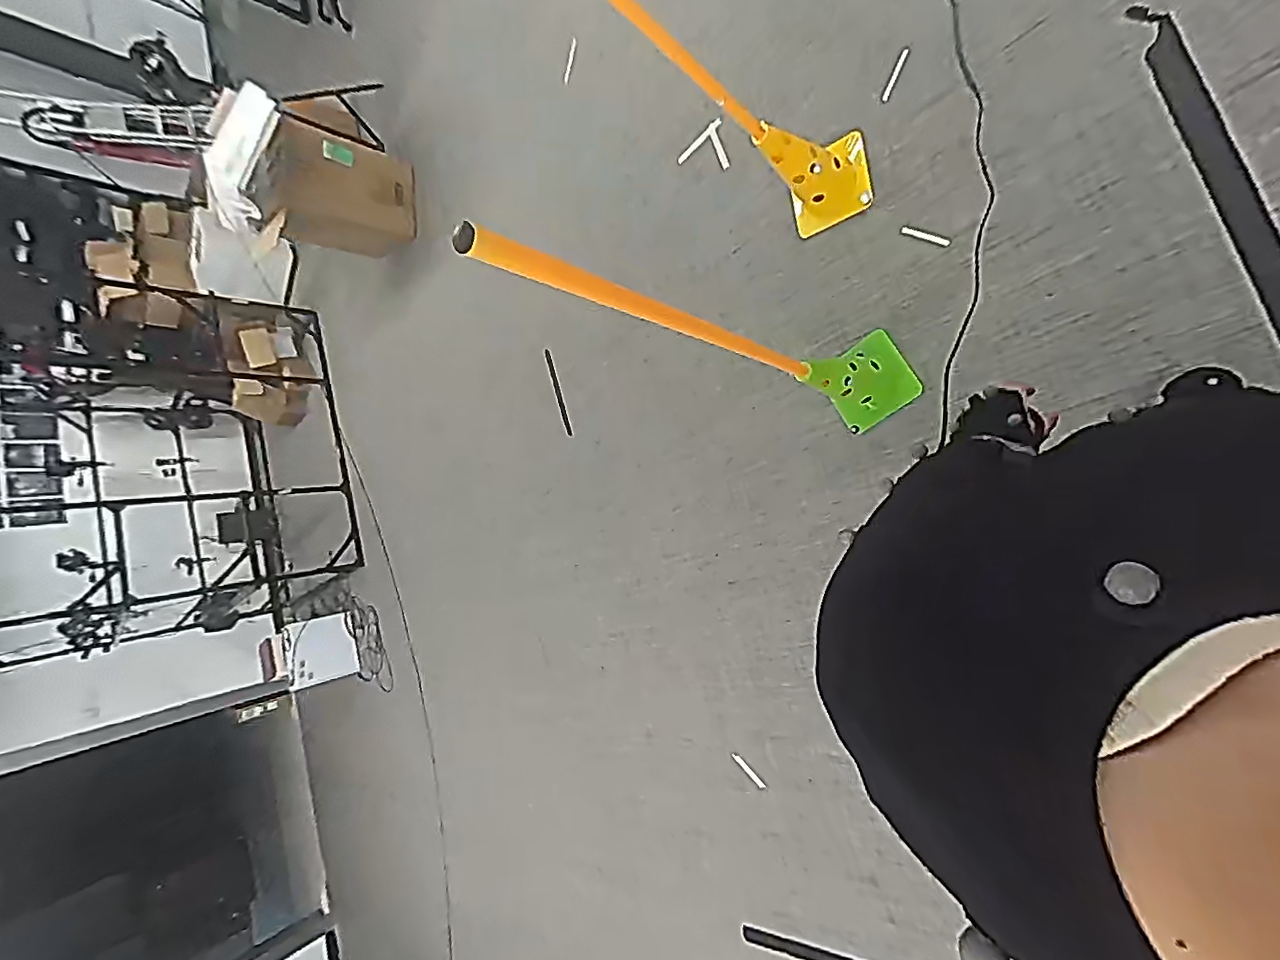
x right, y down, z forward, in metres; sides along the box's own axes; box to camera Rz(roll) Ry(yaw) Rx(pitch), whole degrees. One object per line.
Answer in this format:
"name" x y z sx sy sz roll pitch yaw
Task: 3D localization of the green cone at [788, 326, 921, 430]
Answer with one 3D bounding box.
"green cone" 0.447 -0.244 1.225 0.200 0.368 0.202 -41 65 38
